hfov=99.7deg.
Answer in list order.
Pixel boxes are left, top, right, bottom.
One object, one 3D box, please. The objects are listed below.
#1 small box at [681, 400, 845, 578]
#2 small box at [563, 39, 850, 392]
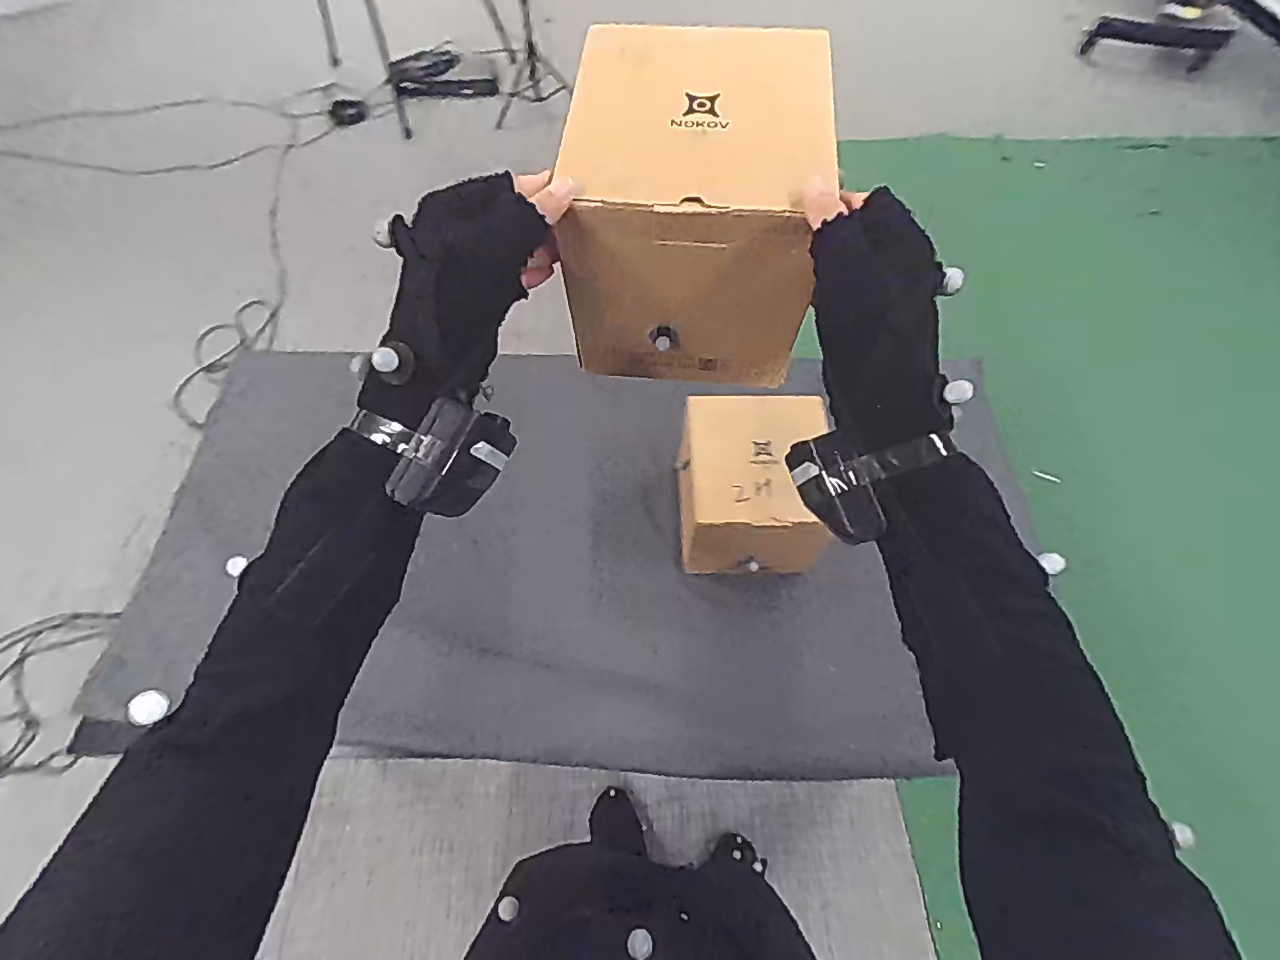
[{"bbox_3d":[0.143,0.015,0.700,0.168,0.176,0.179,-1,61,0],"label":"small box"},{"bbox_3d":[0.048,-0.191,0.411,0.168,0.176,0.179,4,66,5],"label":"small box"}]
